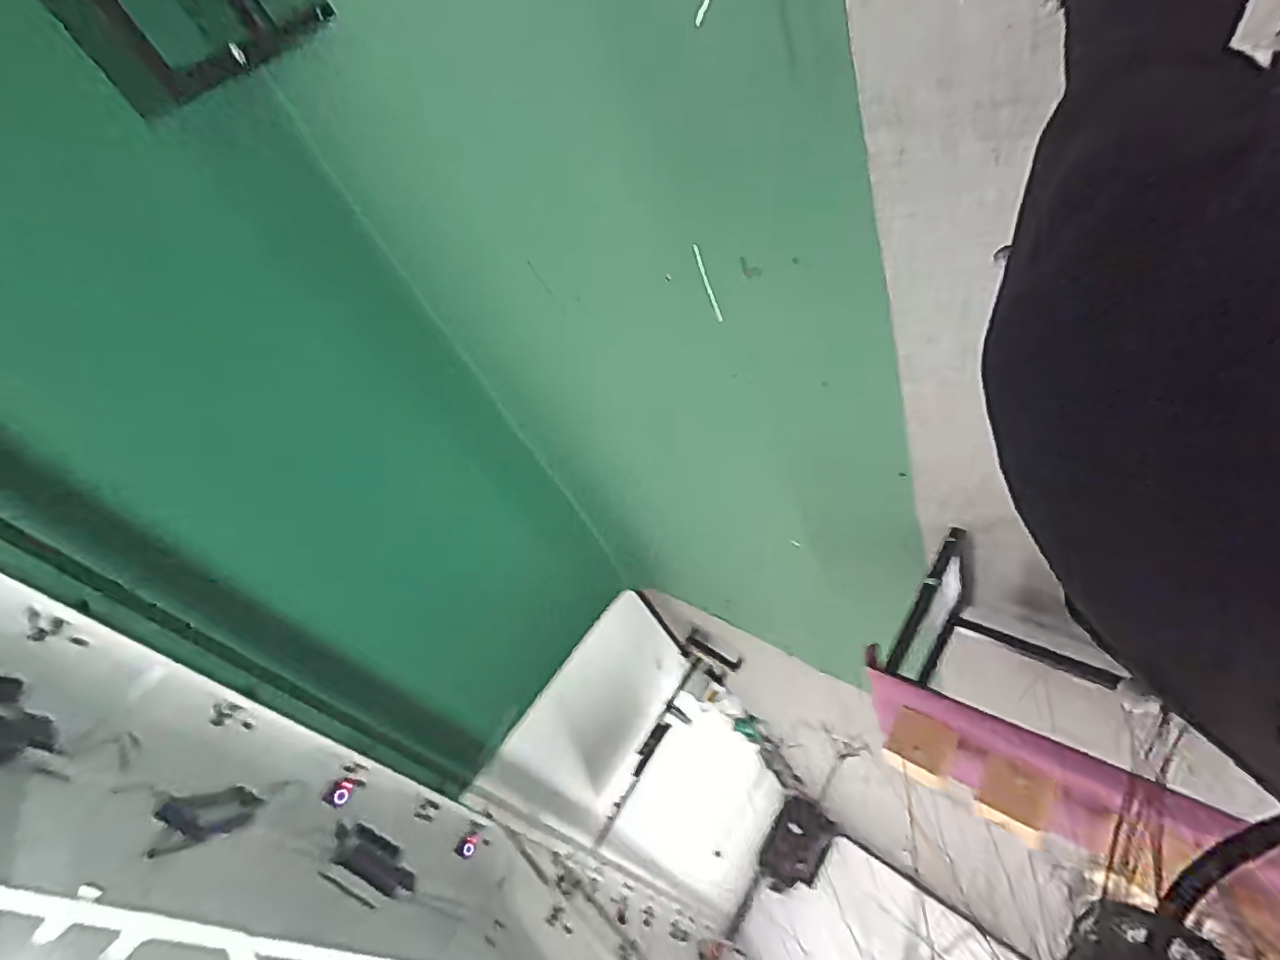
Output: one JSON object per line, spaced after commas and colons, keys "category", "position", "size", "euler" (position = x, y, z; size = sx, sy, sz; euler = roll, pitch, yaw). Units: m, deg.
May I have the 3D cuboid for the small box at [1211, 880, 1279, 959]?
{"category": "small box", "position": [1.551, 1.136, 1.316], "size": [0.179, 0.176, 0.168], "euler": [47, 156, -15]}

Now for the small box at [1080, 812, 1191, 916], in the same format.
{"category": "small box", "position": [1.337, 1.030, 1.460], "size": [0.168, 0.176, 0.179], "euler": [25, 153, 31]}

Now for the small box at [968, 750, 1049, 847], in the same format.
{"category": "small box", "position": [1.133, 0.972, 1.658], "size": [0.168, 0.176, 0.179], "euler": [14, 145, 45]}

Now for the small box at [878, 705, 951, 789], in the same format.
{"category": "small box", "position": [0.931, 0.898, 1.825], "size": [0.179, 0.176, 0.168], "euler": [18, 150, 41]}
